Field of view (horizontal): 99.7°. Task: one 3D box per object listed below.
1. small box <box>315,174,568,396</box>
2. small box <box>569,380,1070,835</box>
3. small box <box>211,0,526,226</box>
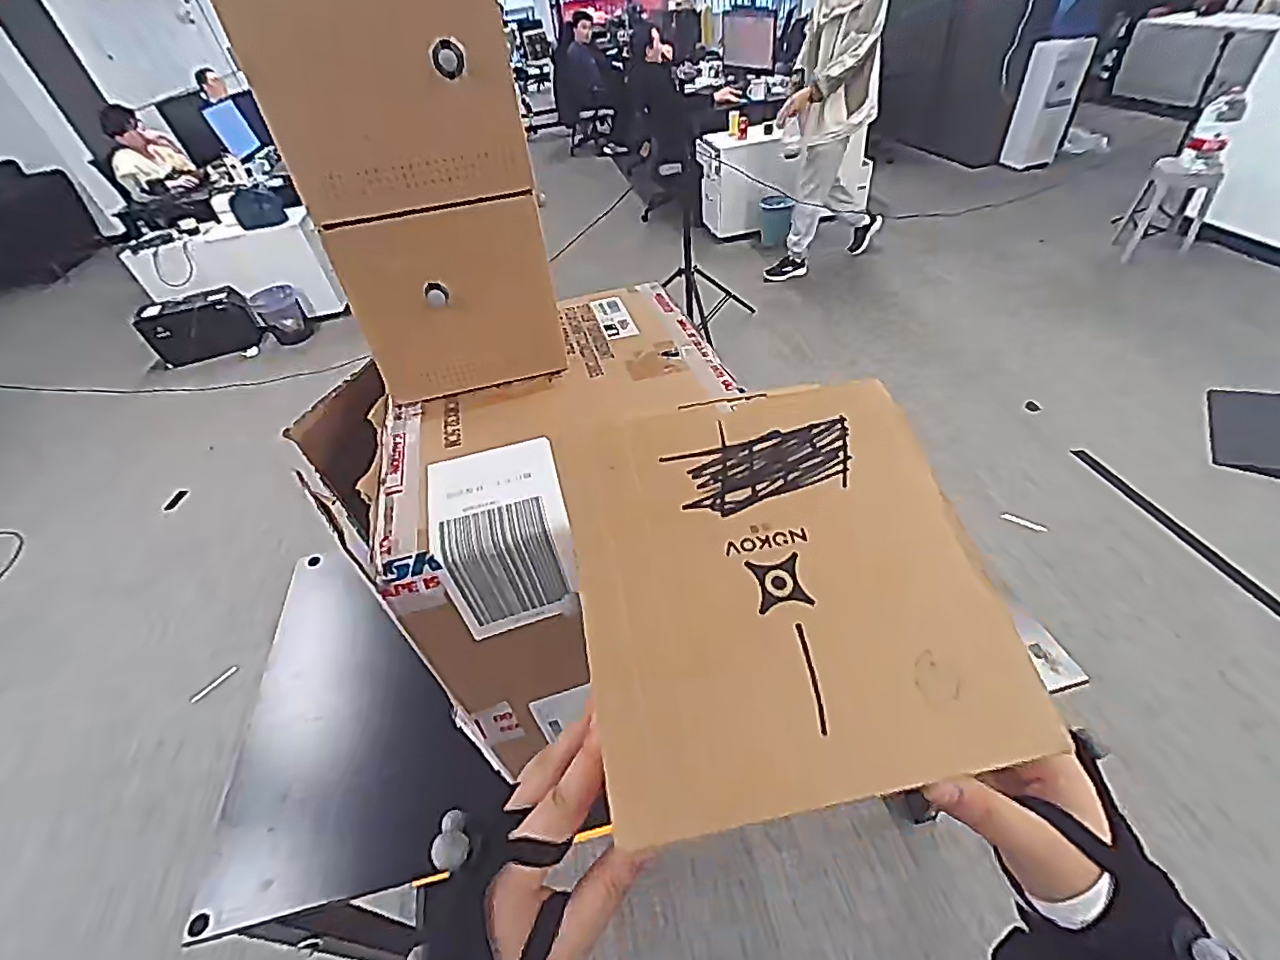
[{"bbox_3d":[-0.184,-0.204,0.543,0.179,0.176,0.168,-15,42,-8],"label":"small box"},{"bbox_3d":[0.058,0.074,0.295,0.168,0.176,0.179,-9,60,-4],"label":"small box"},{"bbox_3d":[-0.197,-0.323,0.433,0.179,0.176,0.168,-17,41,-10],"label":"small box"}]
